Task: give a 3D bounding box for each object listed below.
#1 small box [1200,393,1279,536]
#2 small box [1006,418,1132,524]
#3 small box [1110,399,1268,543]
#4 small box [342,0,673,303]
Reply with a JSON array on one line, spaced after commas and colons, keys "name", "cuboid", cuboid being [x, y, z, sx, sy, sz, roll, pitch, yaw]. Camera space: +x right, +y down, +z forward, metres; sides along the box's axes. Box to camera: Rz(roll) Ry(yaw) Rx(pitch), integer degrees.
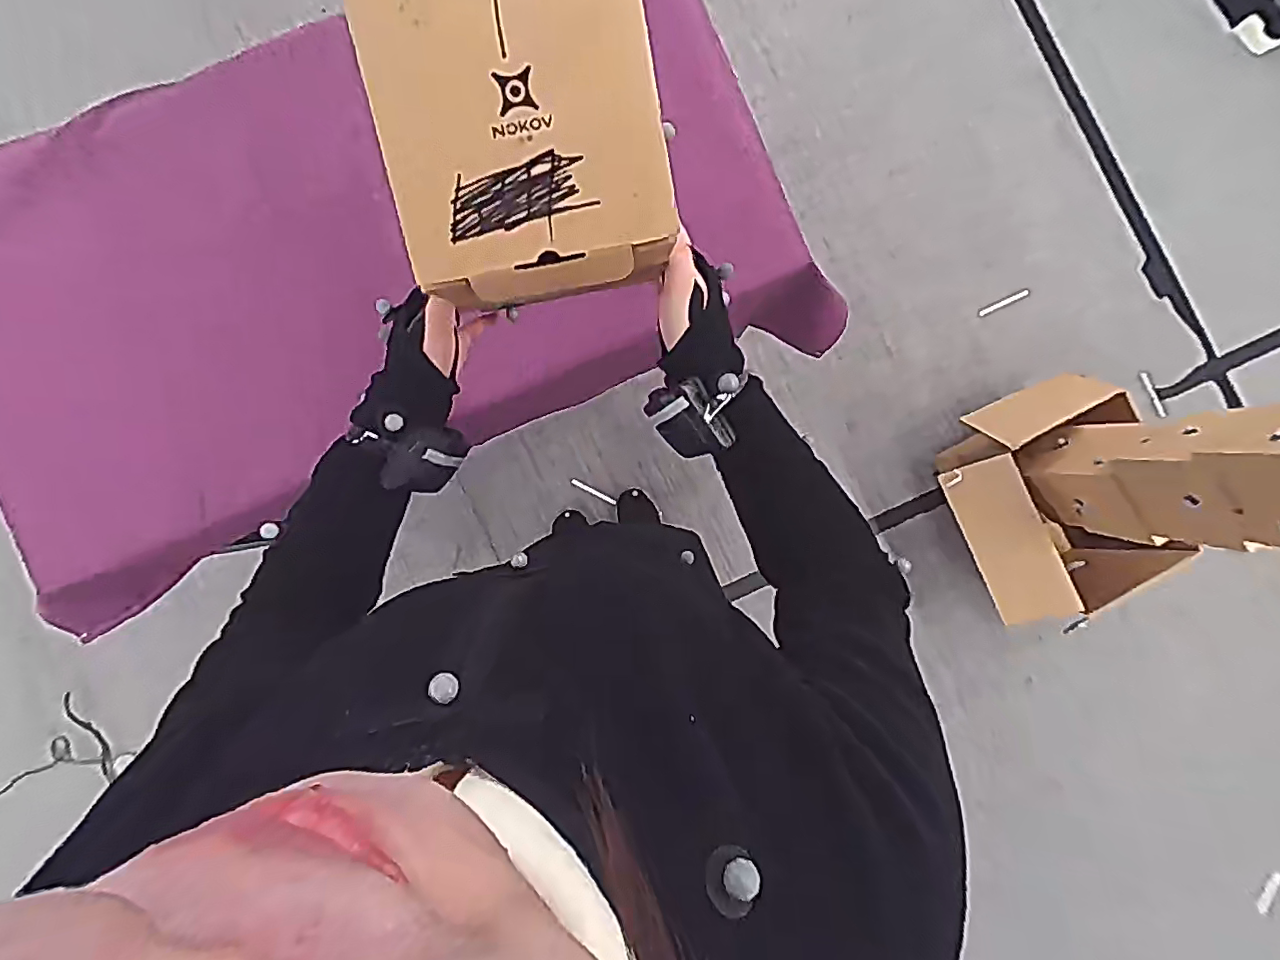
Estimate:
[{"name": "small box", "cuboid": [0.963, -0.022, 0.762, 0.179, 0.176, 0.168, -31, 94, 2]}, {"name": "small box", "cuboid": [1.011, -0.023, 1.254, 0.179, 0.176, 0.168, 43, 93, -3]}, {"name": "small box", "cuboid": [0.974, -0.018, 0.926, 0.168, 0.176, 0.179, -32, 93, 4]}, {"name": "small box", "cuboid": [-0.075, -0.231, 0.389, 0.168, 0.176, 0.179, -11, 102, 0]}]
